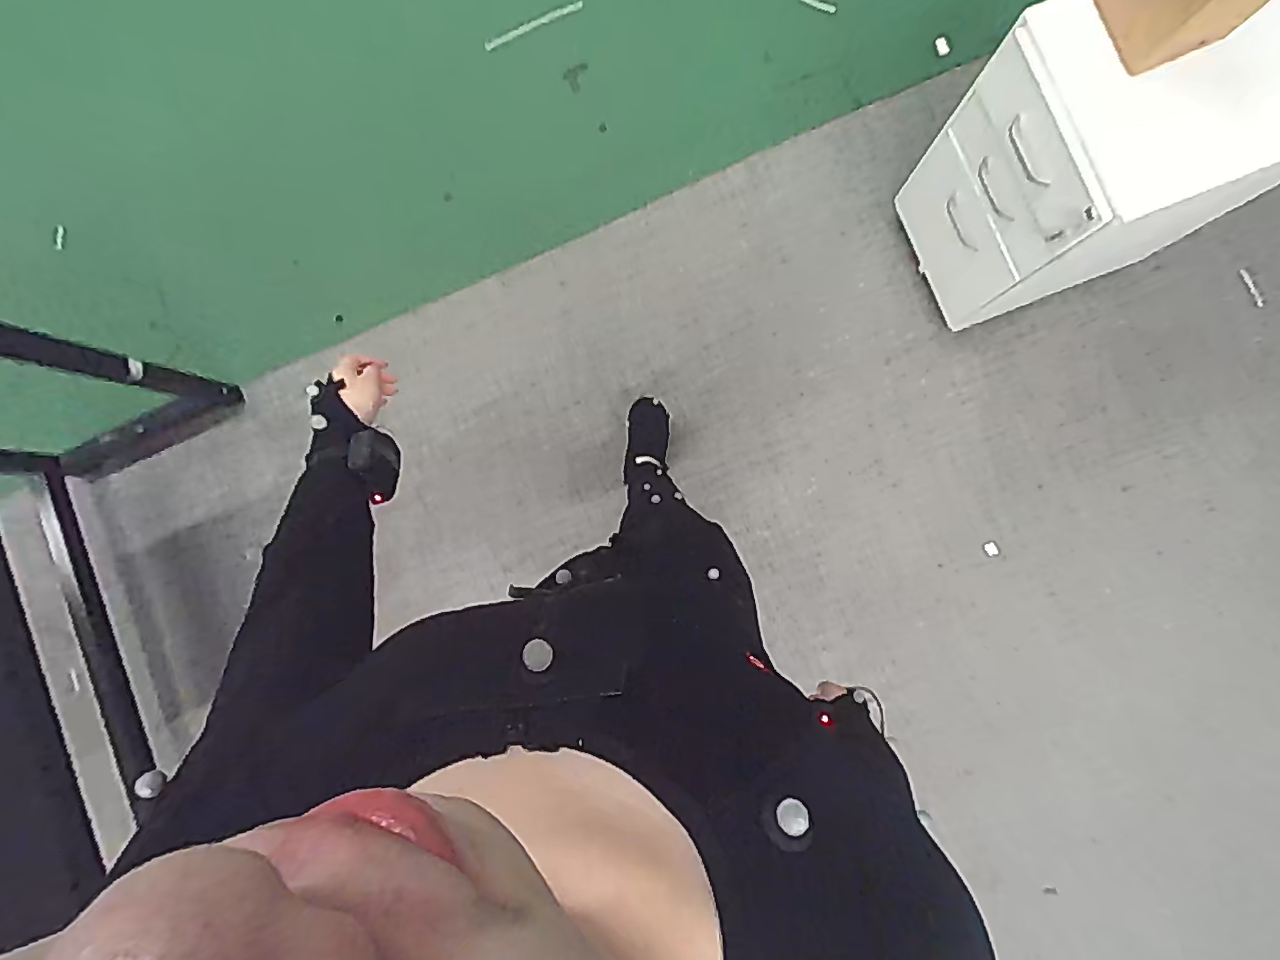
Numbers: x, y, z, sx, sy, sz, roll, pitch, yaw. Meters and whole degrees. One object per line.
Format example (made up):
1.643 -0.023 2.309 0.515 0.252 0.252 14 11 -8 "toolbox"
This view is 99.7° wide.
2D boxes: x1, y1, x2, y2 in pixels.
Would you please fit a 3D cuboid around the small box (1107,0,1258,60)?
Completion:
0.828 -0.777 0.787 0.168 0.176 0.179 -22 87 3 "small box"
